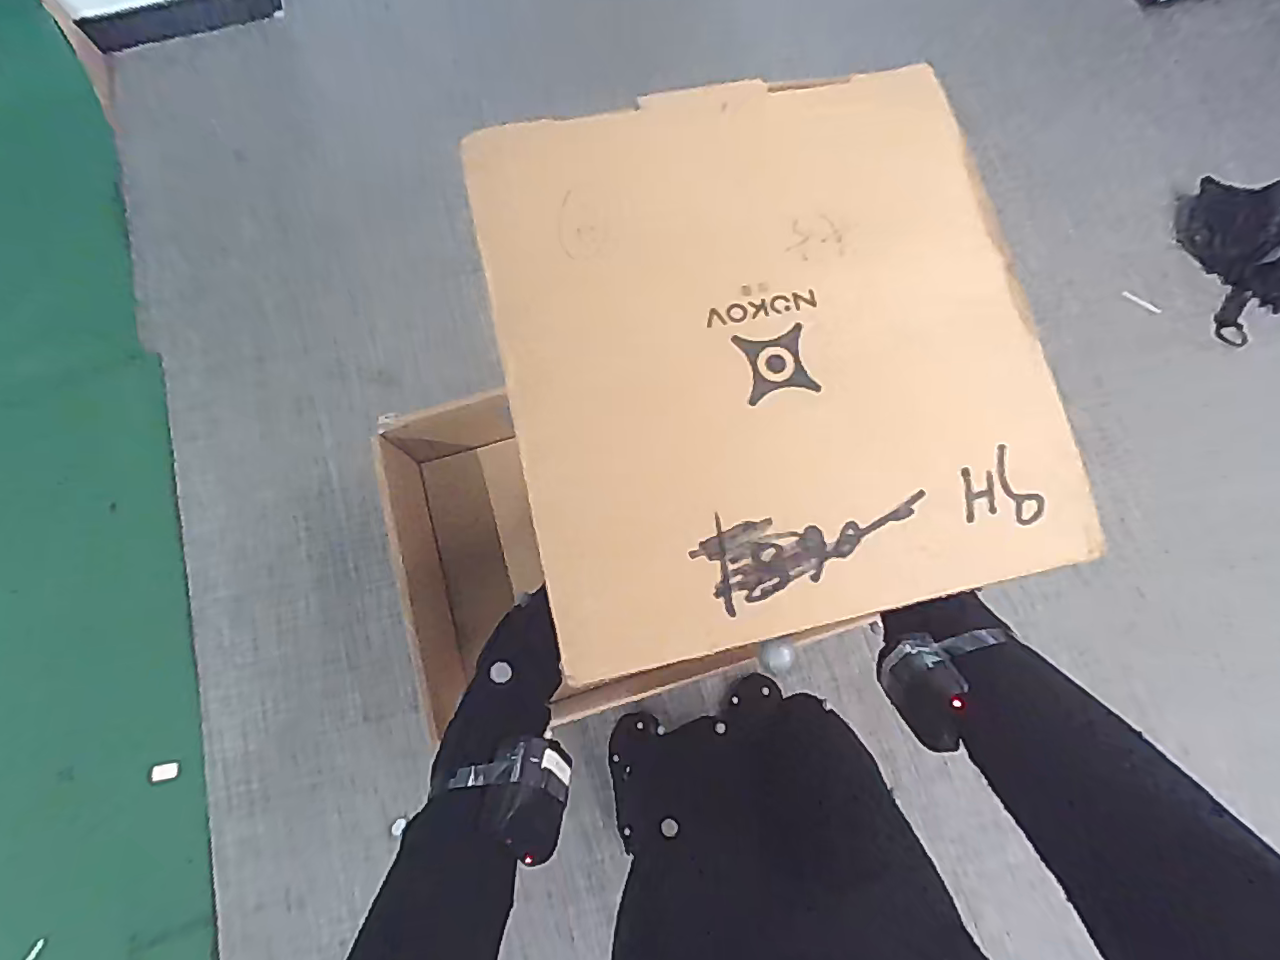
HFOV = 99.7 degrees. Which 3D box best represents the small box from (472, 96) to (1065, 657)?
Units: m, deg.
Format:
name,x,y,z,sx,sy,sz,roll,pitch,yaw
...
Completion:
name,x,y,z,sx,sy,sz,roll,pitch,yaw
small box,0.034,-0.029,0.258,0.168,0.176,0.179,-13,79,-4
